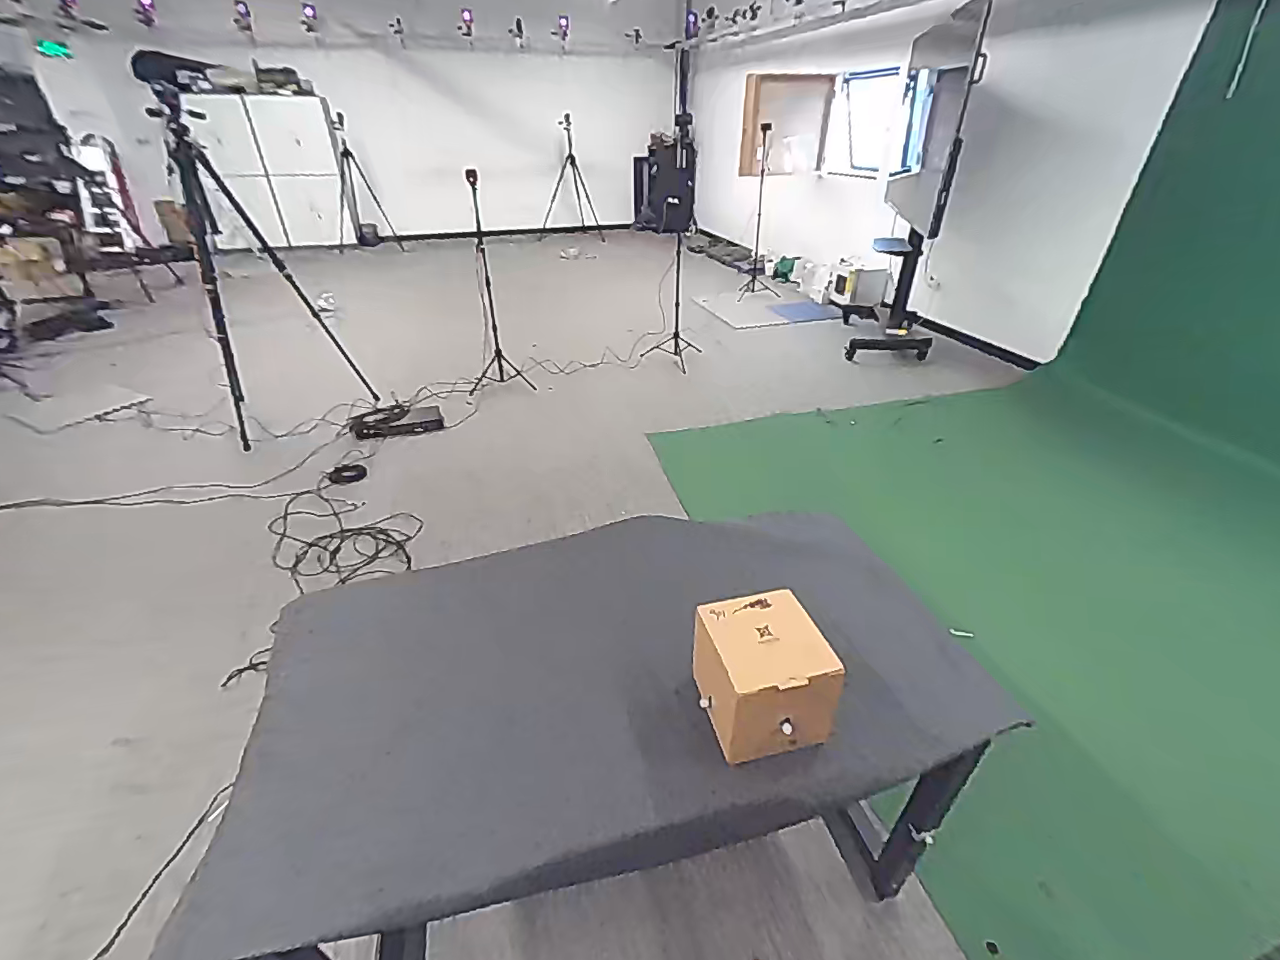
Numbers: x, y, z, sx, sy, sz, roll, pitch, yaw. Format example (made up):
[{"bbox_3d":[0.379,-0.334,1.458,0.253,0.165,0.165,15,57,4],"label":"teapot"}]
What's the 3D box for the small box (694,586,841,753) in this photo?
[{"bbox_3d":[0.189,0.300,0.852,0.168,0.176,0.179,-9,33,-11],"label":"small box"}]
